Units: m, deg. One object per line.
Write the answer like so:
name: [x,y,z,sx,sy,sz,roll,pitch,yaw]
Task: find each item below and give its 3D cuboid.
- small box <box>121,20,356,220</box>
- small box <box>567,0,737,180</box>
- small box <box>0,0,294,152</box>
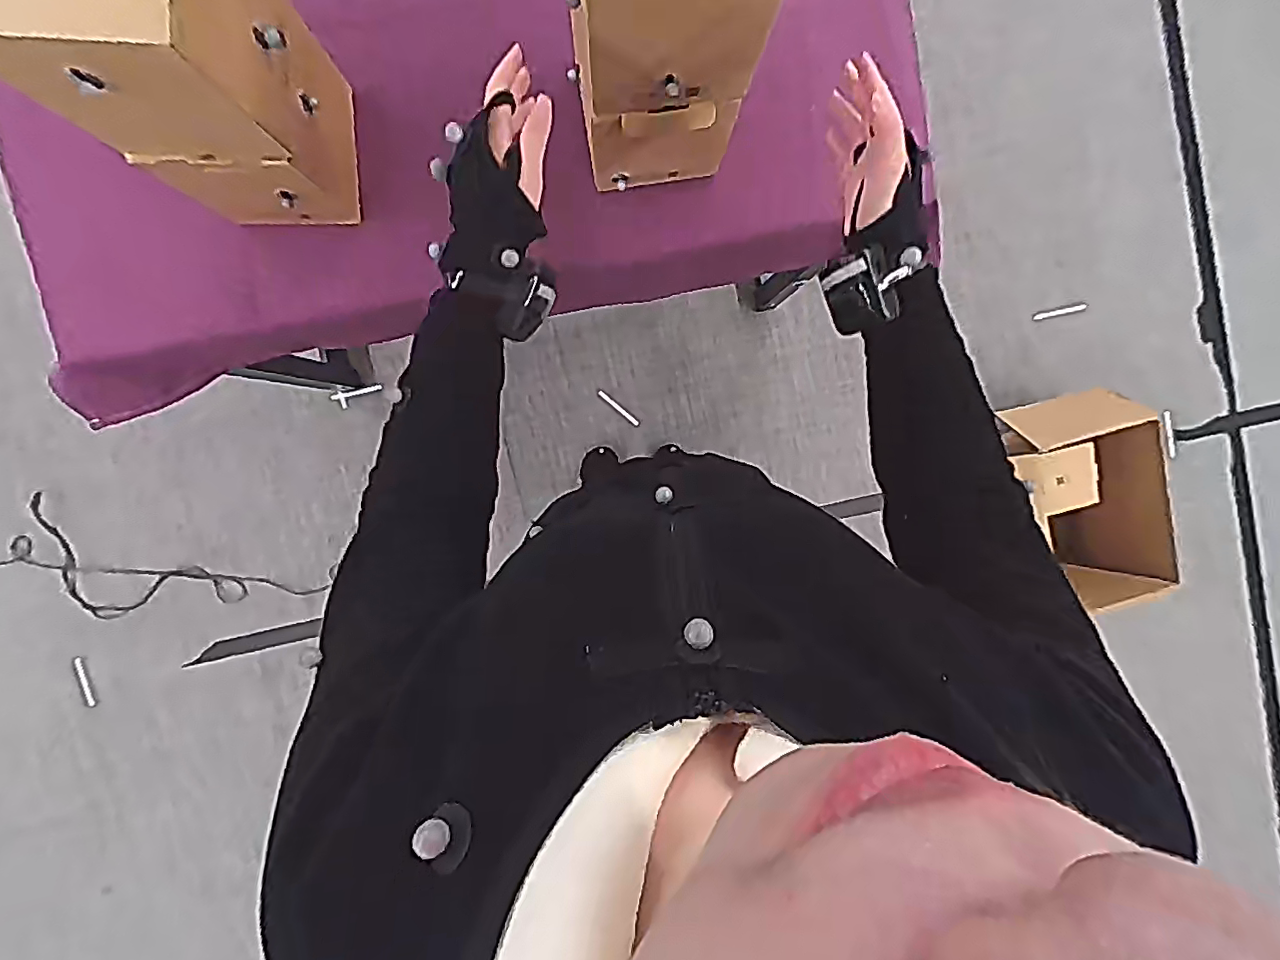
small box: [-0.451,-0.420,0.628,0.168,0.176,0.179,-1,95,-4]
small box: [0.009,-0.484,0.645,0.168,0.176,0.179,-9,94,-2]
small box: [-0.436,-0.409,0.465,0.179,0.176,0.168,0,96,-4]
